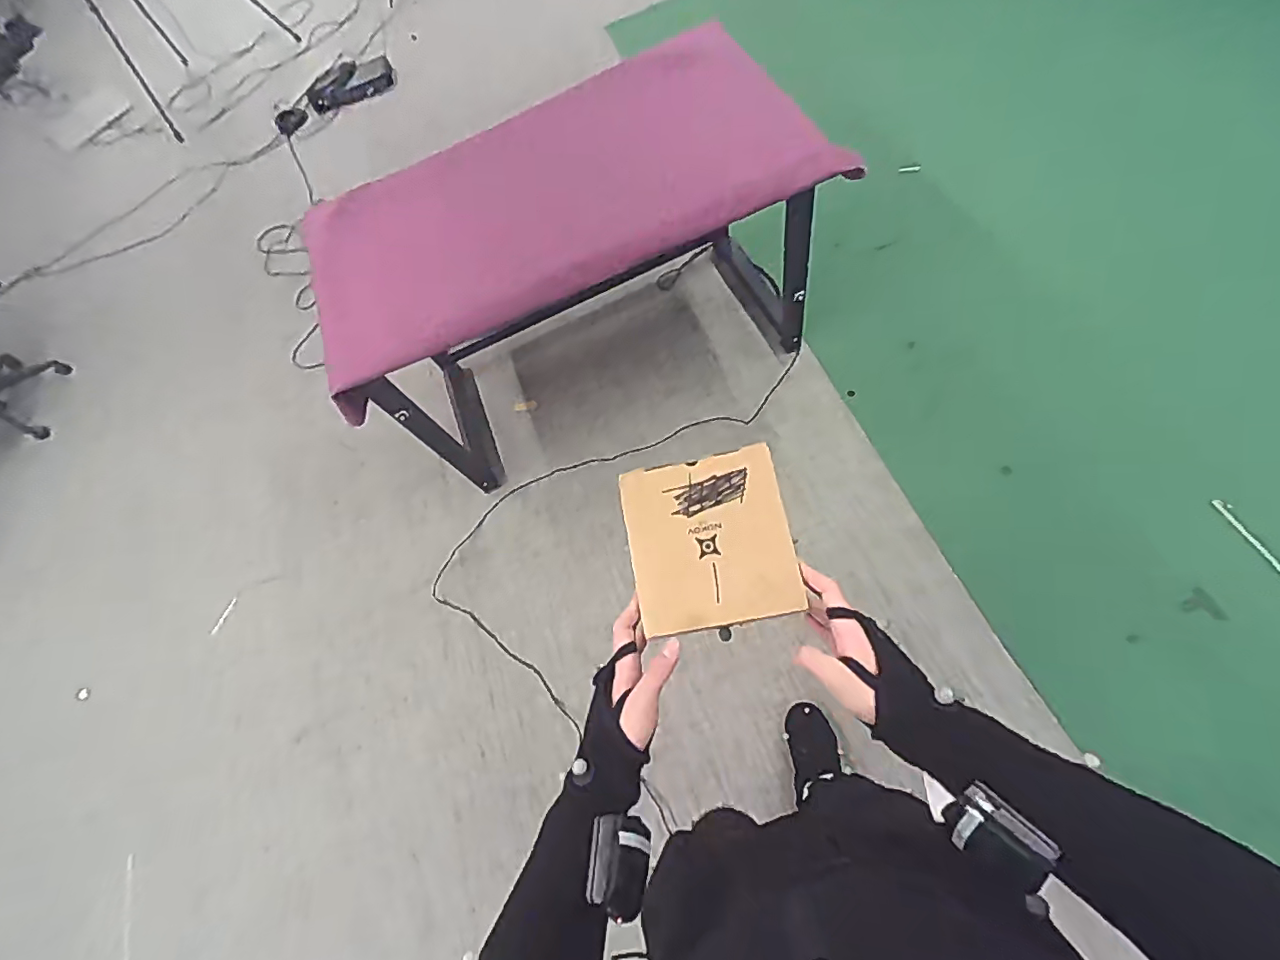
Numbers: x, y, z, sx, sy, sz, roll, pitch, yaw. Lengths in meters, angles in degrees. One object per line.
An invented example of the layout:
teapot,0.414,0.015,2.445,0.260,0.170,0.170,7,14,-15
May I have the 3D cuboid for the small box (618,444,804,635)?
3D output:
small box,0.081,0.080,0.629,0.168,0.176,0.179,-12,73,8
